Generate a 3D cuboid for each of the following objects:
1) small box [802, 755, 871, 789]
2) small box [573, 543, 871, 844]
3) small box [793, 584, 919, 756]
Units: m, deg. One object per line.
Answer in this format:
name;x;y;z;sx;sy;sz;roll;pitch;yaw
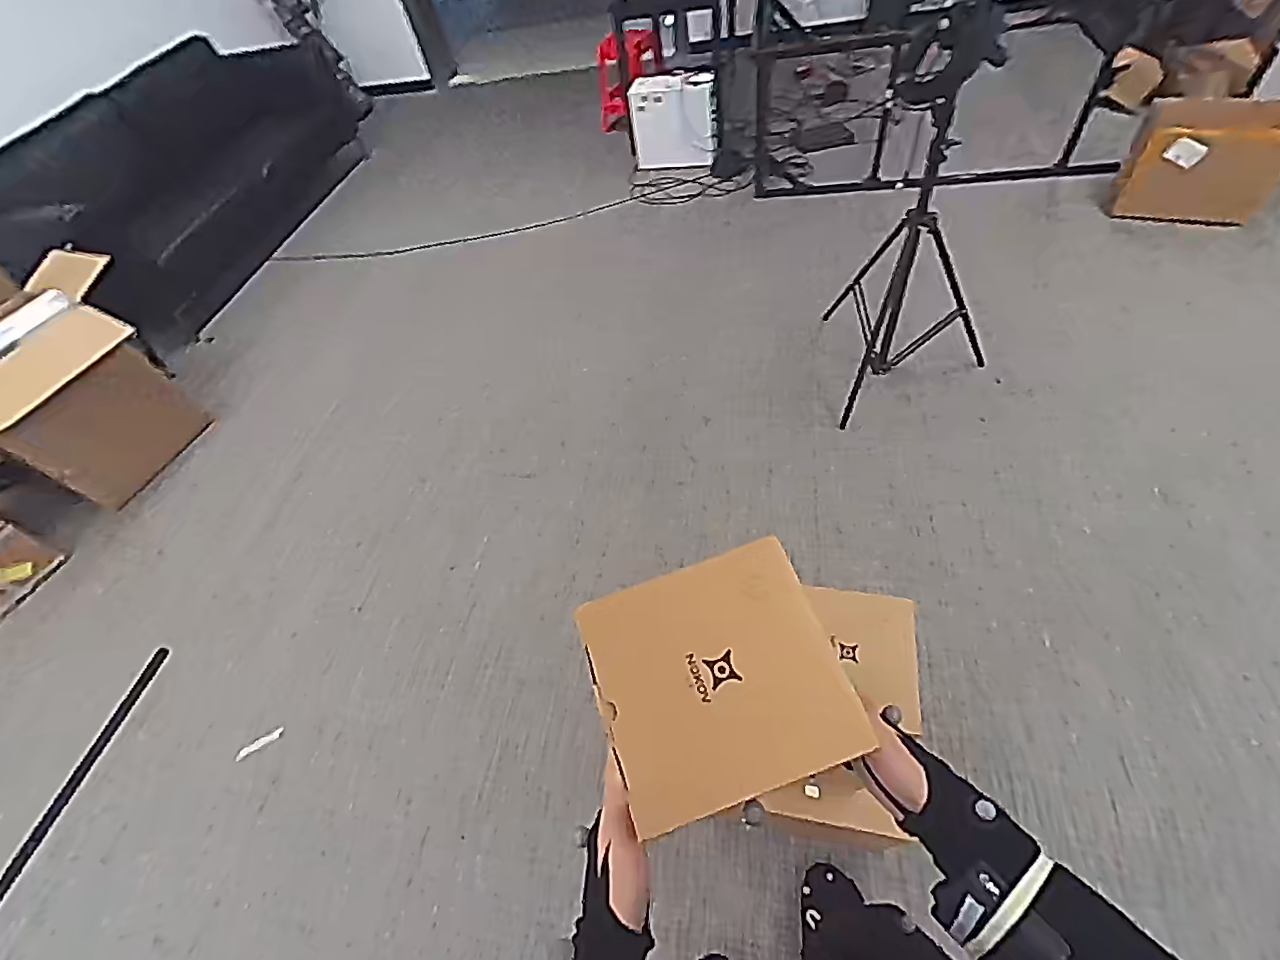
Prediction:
small box;0.311;0.455;0.991;0.179;0.176;0.168;3;55;12
small box;0.060;0.180;0.468;0.179;0.176;0.168;-20;62;-3
small box;0.259;0.259;0.731;0.179;0.176;0.168;5;55;15
